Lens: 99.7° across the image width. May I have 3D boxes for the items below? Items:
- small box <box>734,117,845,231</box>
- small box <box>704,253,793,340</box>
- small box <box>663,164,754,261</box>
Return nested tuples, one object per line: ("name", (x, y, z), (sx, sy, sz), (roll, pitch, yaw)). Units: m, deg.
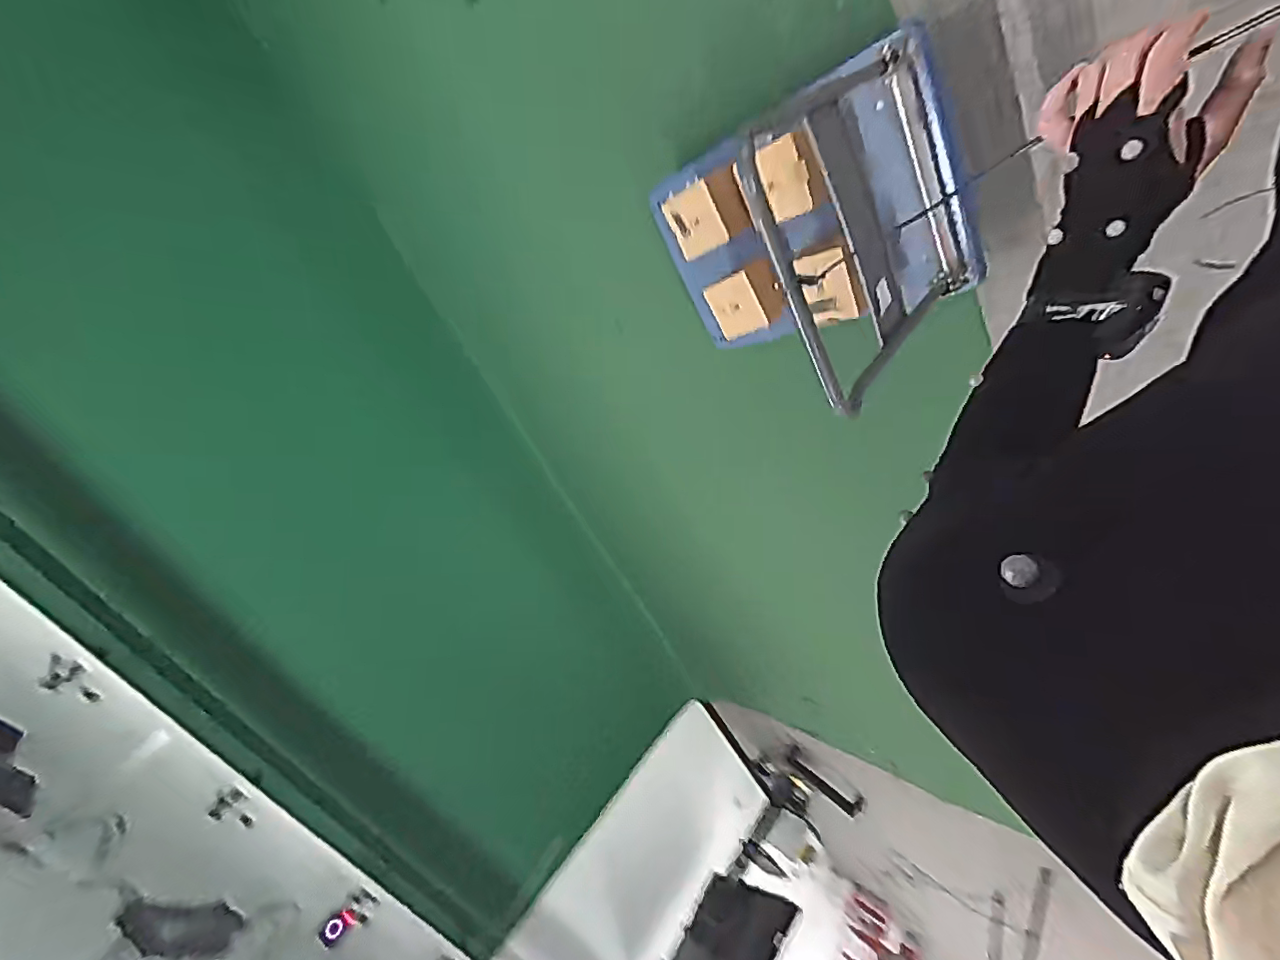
("small box", (0.368, -0.745, 1.322), (0.179, 0.176, 0.168), (2, 128, 52))
("small box", (0.332, -0.548, 1.615), (0.179, 0.176, 0.168), (-4, 123, 55))
("small box", (0.205, -0.753, 1.528), (0.179, 0.176, 0.168), (-2, 126, 54))
